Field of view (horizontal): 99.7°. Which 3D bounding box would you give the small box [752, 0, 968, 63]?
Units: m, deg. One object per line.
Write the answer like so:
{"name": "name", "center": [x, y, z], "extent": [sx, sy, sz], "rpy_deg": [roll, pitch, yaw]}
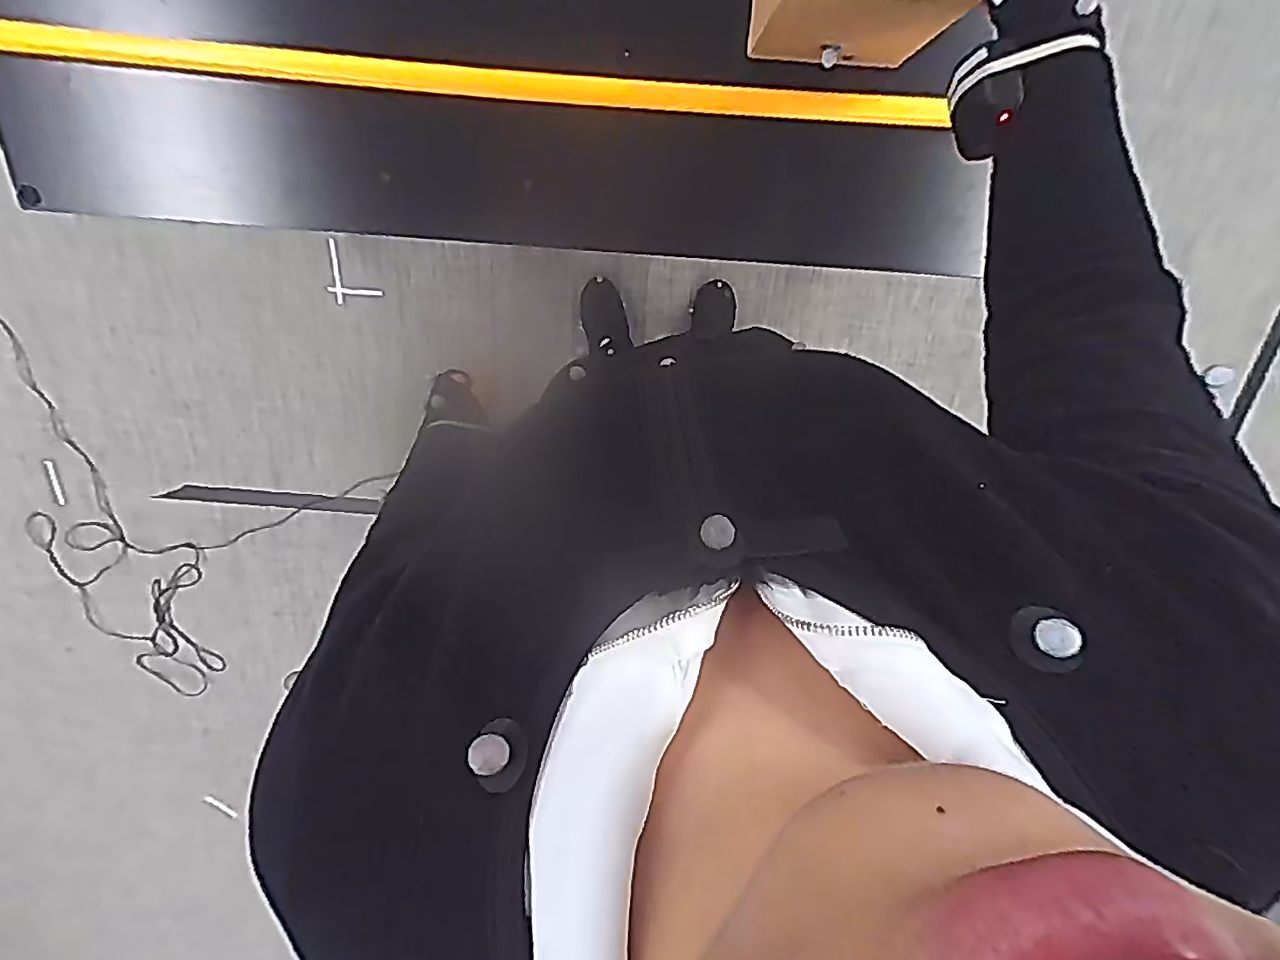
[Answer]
{"name": "small box", "center": [0.204, -0.515, 0.486], "extent": [0.168, 0.176, 0.179], "rpy_deg": [3, 112, -1]}
